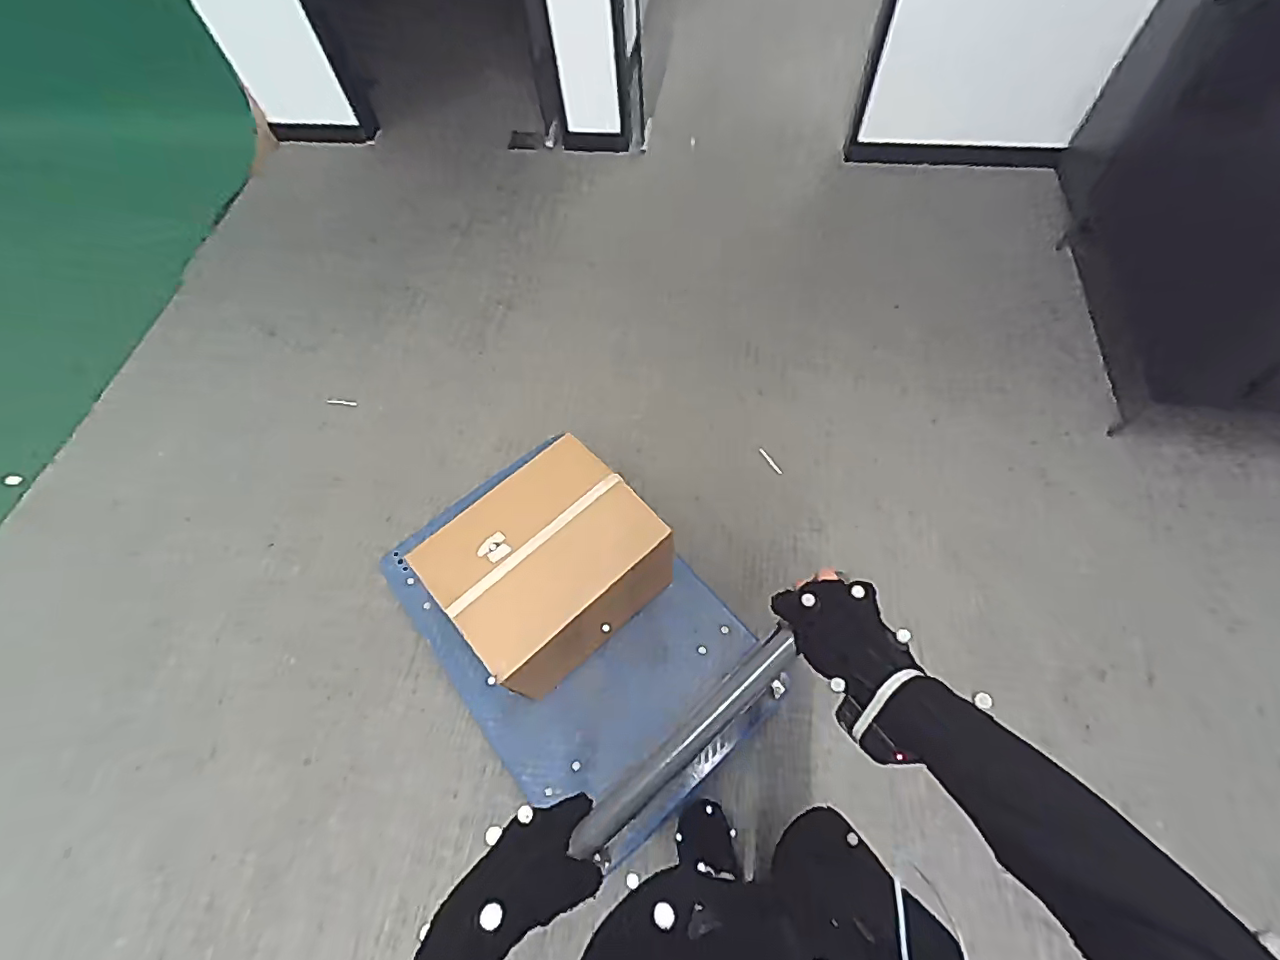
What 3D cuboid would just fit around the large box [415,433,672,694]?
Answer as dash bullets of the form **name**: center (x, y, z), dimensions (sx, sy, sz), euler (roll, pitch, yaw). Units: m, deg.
- **large box**: center (-0.175, 0.186, 1.153), dimensions (0.408, 0.320, 0.320), euler (-40, 67, -16)
